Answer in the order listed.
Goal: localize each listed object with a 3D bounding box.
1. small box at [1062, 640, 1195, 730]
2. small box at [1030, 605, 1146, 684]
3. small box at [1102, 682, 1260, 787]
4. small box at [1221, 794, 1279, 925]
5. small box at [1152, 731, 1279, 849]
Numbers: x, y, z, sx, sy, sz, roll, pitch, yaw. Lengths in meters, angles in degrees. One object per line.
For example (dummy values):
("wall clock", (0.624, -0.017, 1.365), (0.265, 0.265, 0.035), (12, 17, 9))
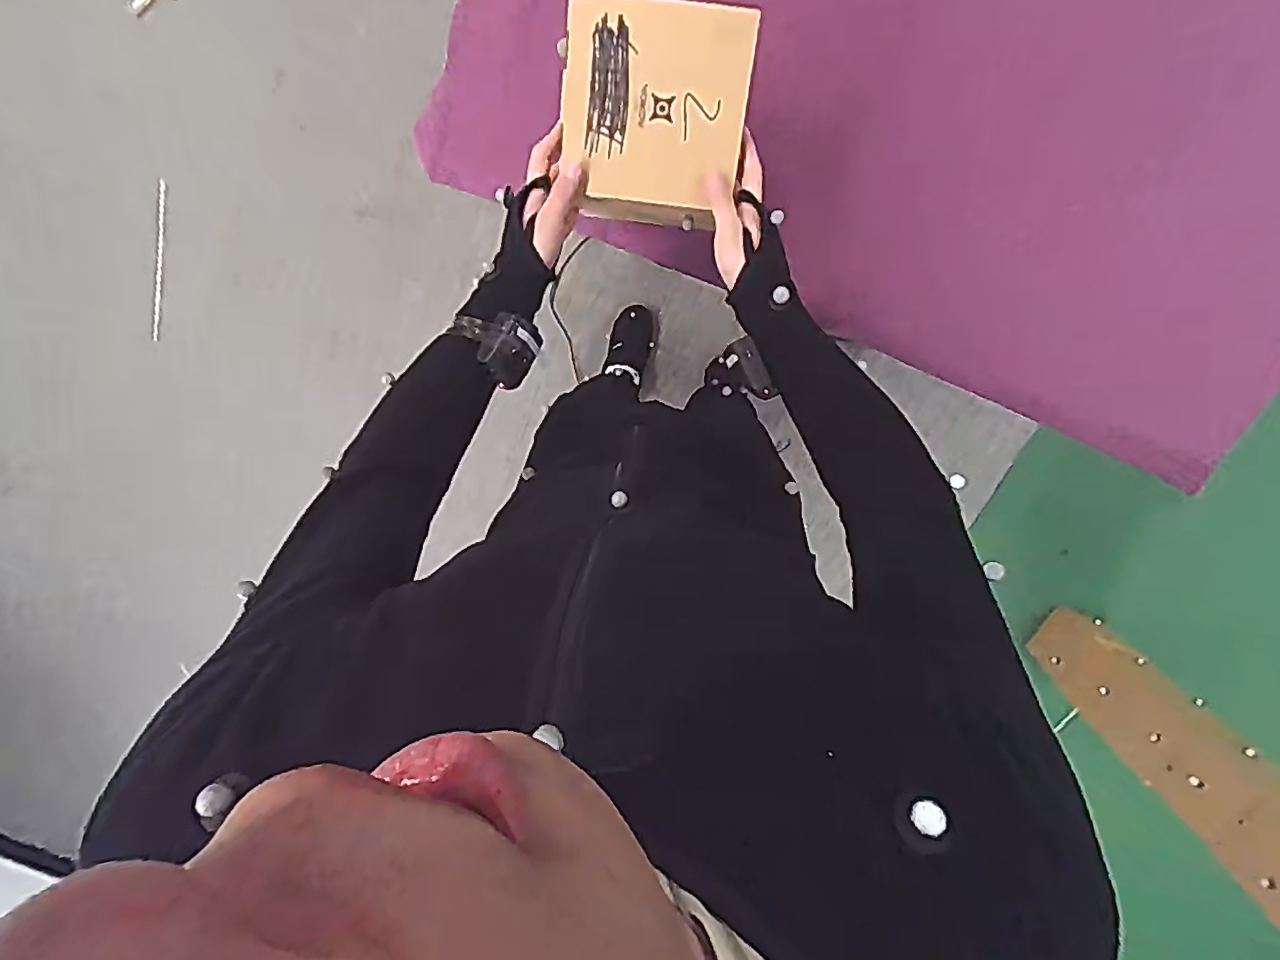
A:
("small box", (1.287, 0.566, 1.445), (0.168, 0.176, 0.179), (20, 109, 0))
("small box", (1.305, 0.507, 1.595), (0.168, 0.176, 0.179), (23, 110, -2))
("small box", (1.271, 0.618, 1.290), (0.168, 0.176, 0.179), (19, 111, 0))
("small box", (1.241, 0.721, 0.981), (0.168, 0.176, 0.179), (20, 109, -2))
("small box", (1.257, 0.664, 1.135), (0.179, 0.176, 0.168), (21, 110, 0))
